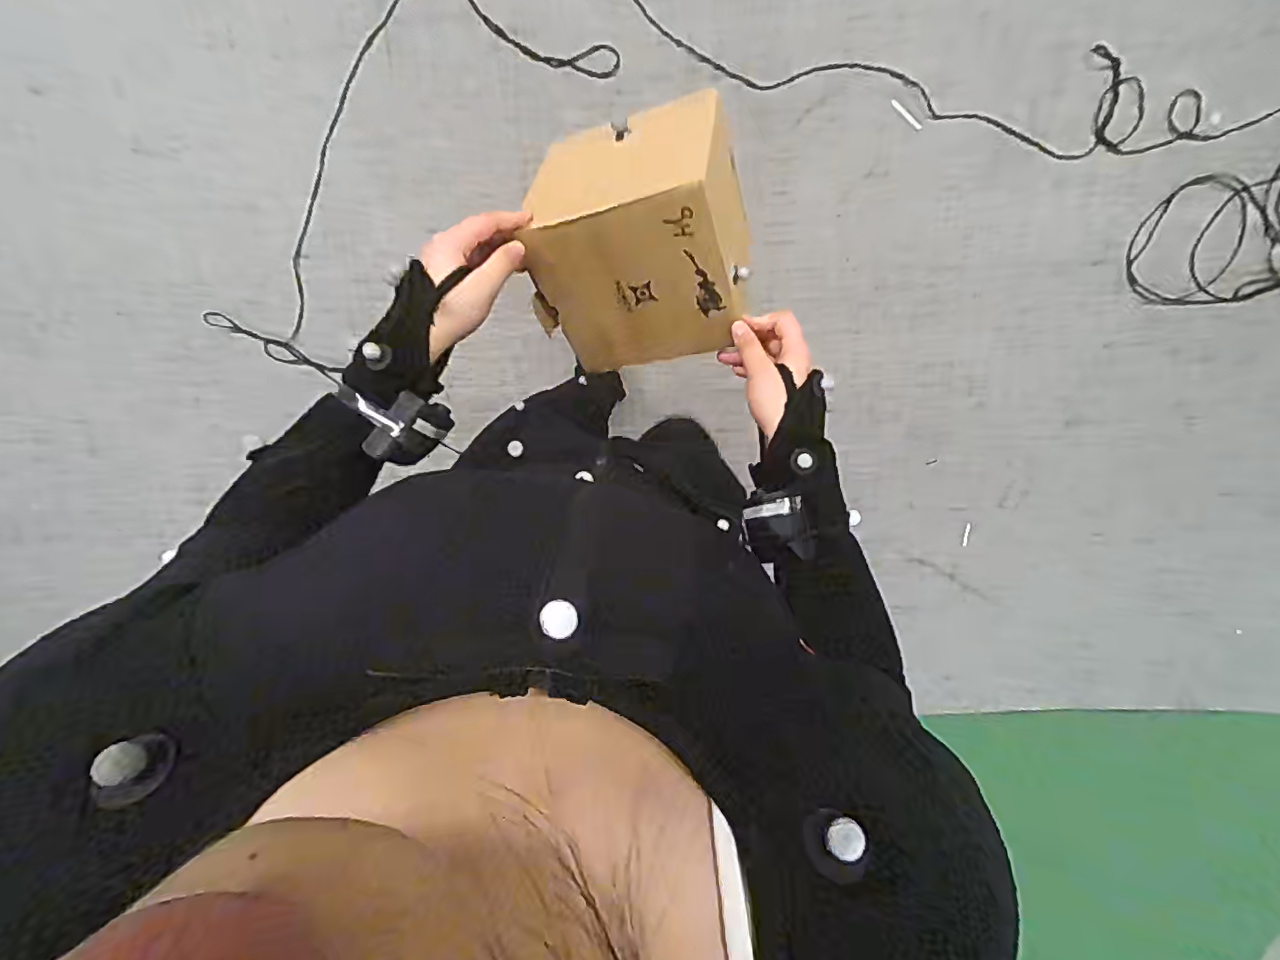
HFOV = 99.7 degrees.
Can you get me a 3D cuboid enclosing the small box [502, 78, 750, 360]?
[{"bbox_3d":[0.002,-0.244,0.524,0.179,0.176,0.168,-4,144,22],"label":"small box"}]
